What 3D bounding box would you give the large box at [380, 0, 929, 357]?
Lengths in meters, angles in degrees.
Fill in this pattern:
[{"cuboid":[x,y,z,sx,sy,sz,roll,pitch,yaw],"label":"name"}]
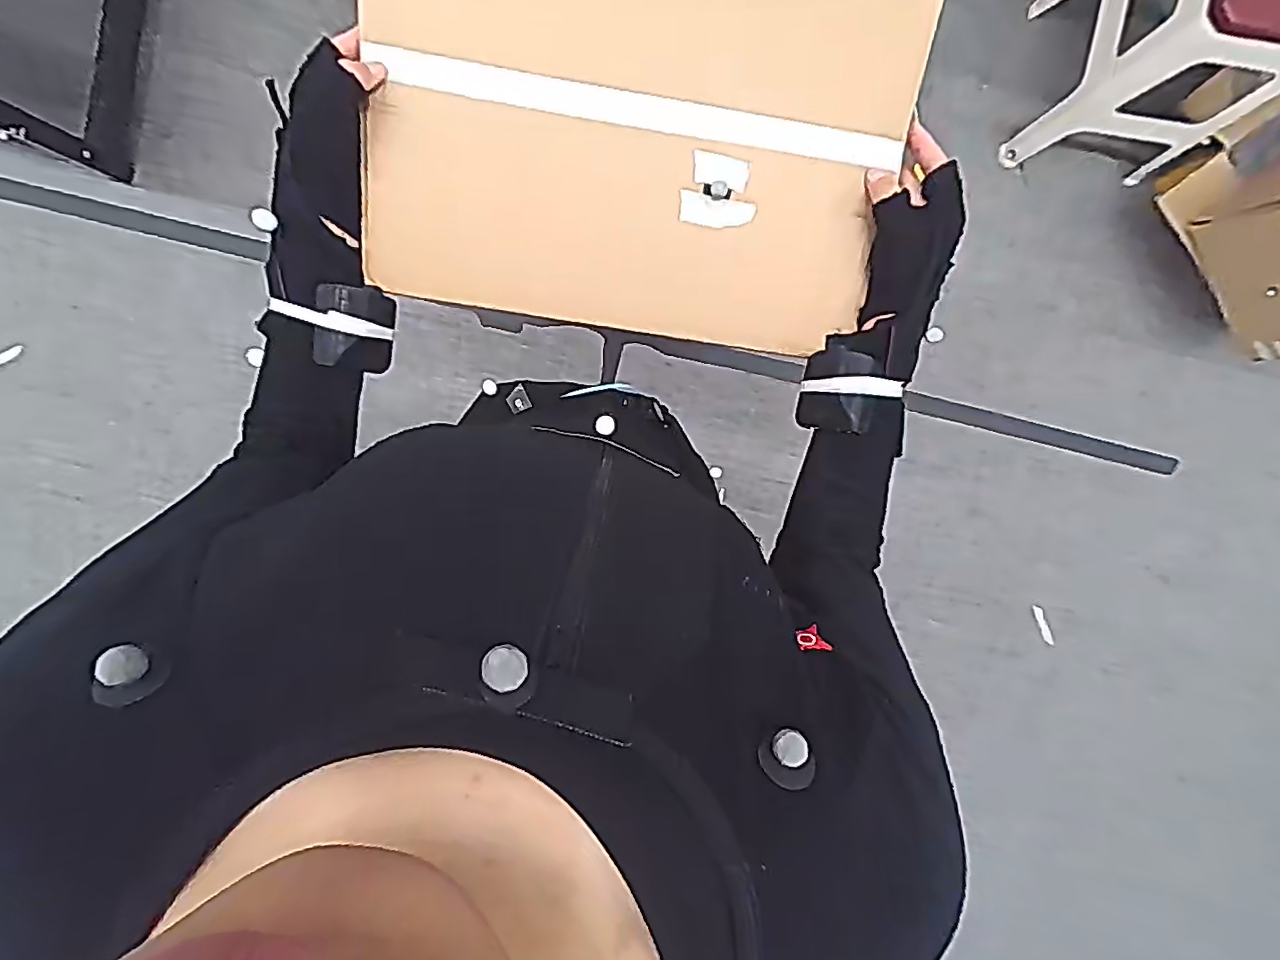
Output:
[{"cuboid":[-0.005,-0.320,0.559,0.408,0.320,0.320,7,109,-5],"label":"large box"}]
